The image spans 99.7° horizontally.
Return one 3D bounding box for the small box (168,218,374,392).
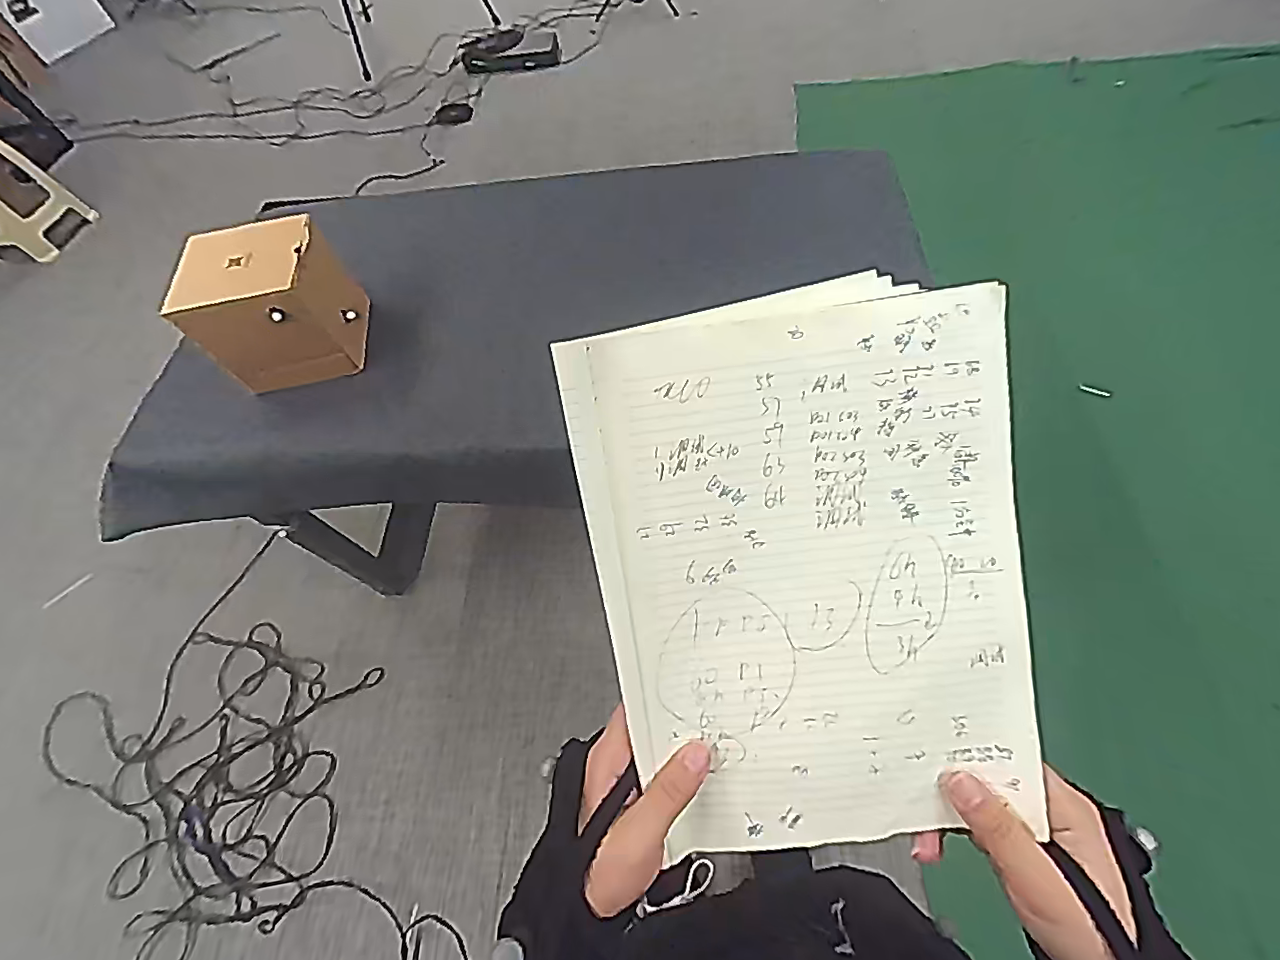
[{"bbox_3d":[-0.531,-0.253,0.808,0.179,0.176,0.168,-12,59,0],"label":"small box"}]
